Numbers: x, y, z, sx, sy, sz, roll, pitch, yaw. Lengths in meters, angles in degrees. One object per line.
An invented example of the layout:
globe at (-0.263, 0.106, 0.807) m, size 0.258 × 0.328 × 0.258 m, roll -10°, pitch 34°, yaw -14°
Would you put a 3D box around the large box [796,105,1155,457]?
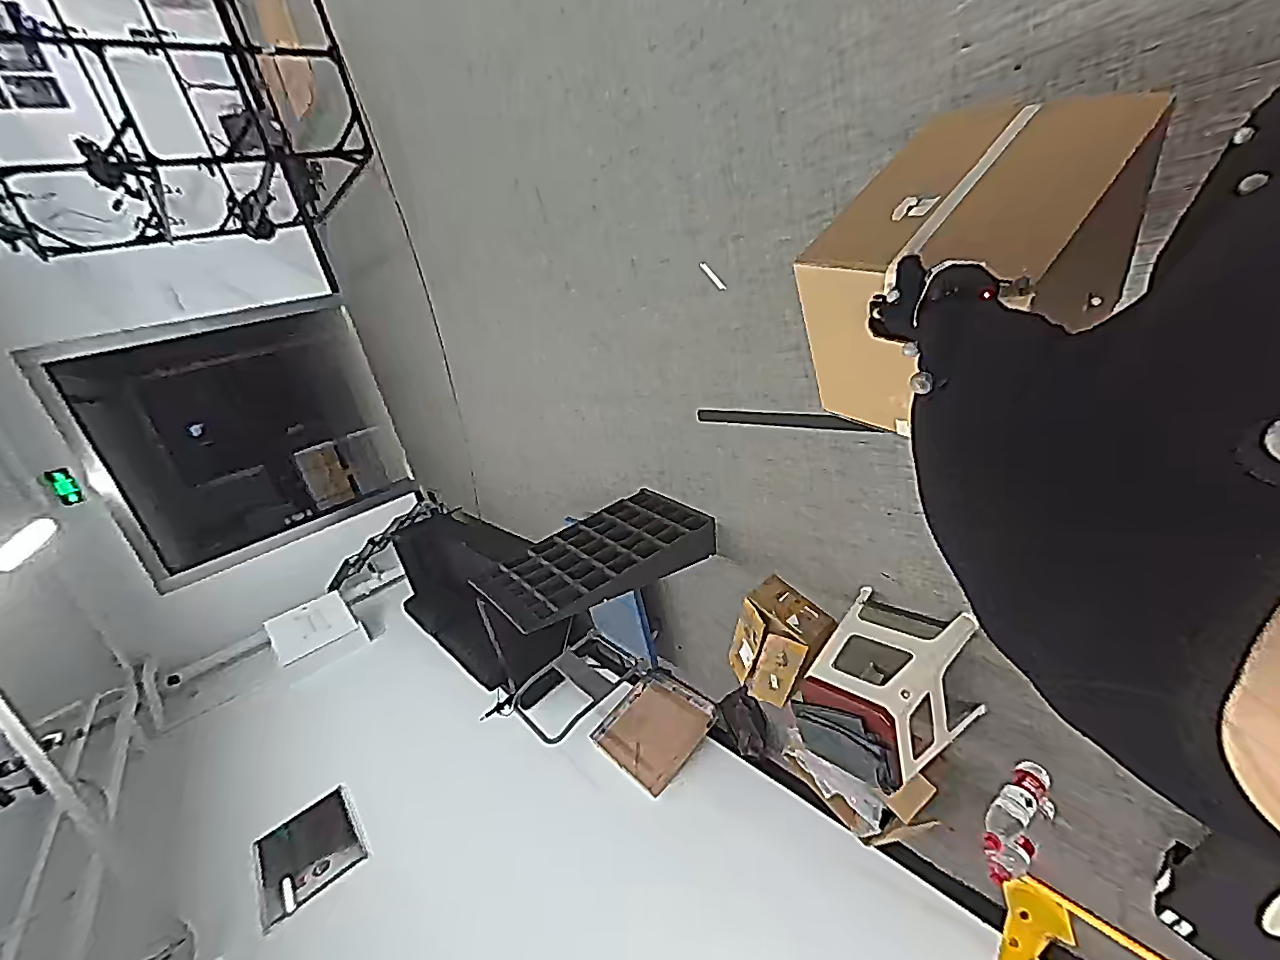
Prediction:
large box at (0.514, -0.313, 0.864) m, size 0.320 × 0.408 × 0.320 m, roll 28°, pitch 160°, yaw 43°
